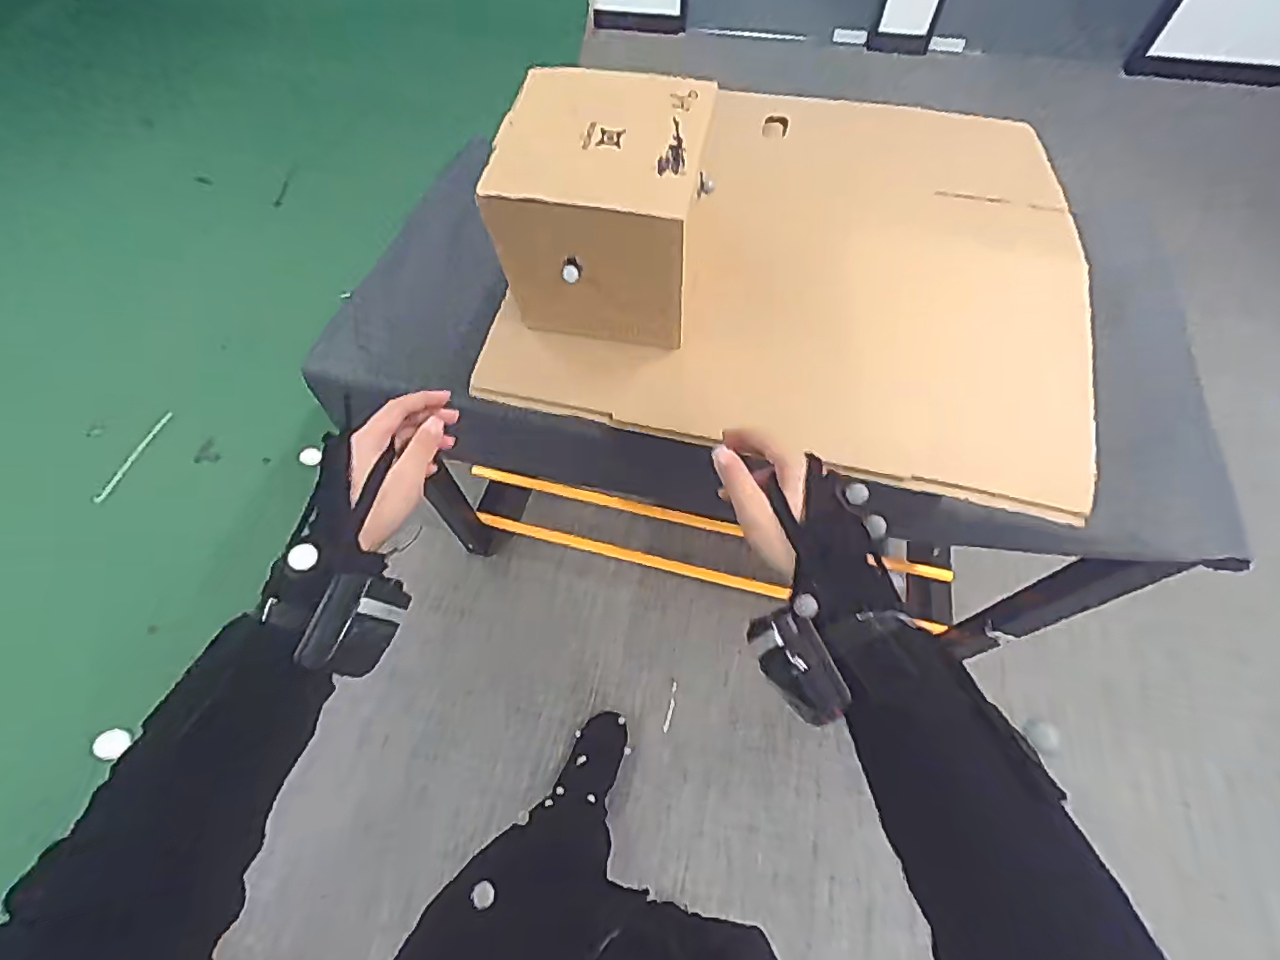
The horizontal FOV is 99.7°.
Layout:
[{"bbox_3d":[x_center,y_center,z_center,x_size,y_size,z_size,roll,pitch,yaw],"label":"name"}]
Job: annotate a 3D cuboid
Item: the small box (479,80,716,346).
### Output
[{"bbox_3d":[-0.028,-0.253,0.535,0.179,0.176,0.168,10,68,8],"label":"small box"}]
